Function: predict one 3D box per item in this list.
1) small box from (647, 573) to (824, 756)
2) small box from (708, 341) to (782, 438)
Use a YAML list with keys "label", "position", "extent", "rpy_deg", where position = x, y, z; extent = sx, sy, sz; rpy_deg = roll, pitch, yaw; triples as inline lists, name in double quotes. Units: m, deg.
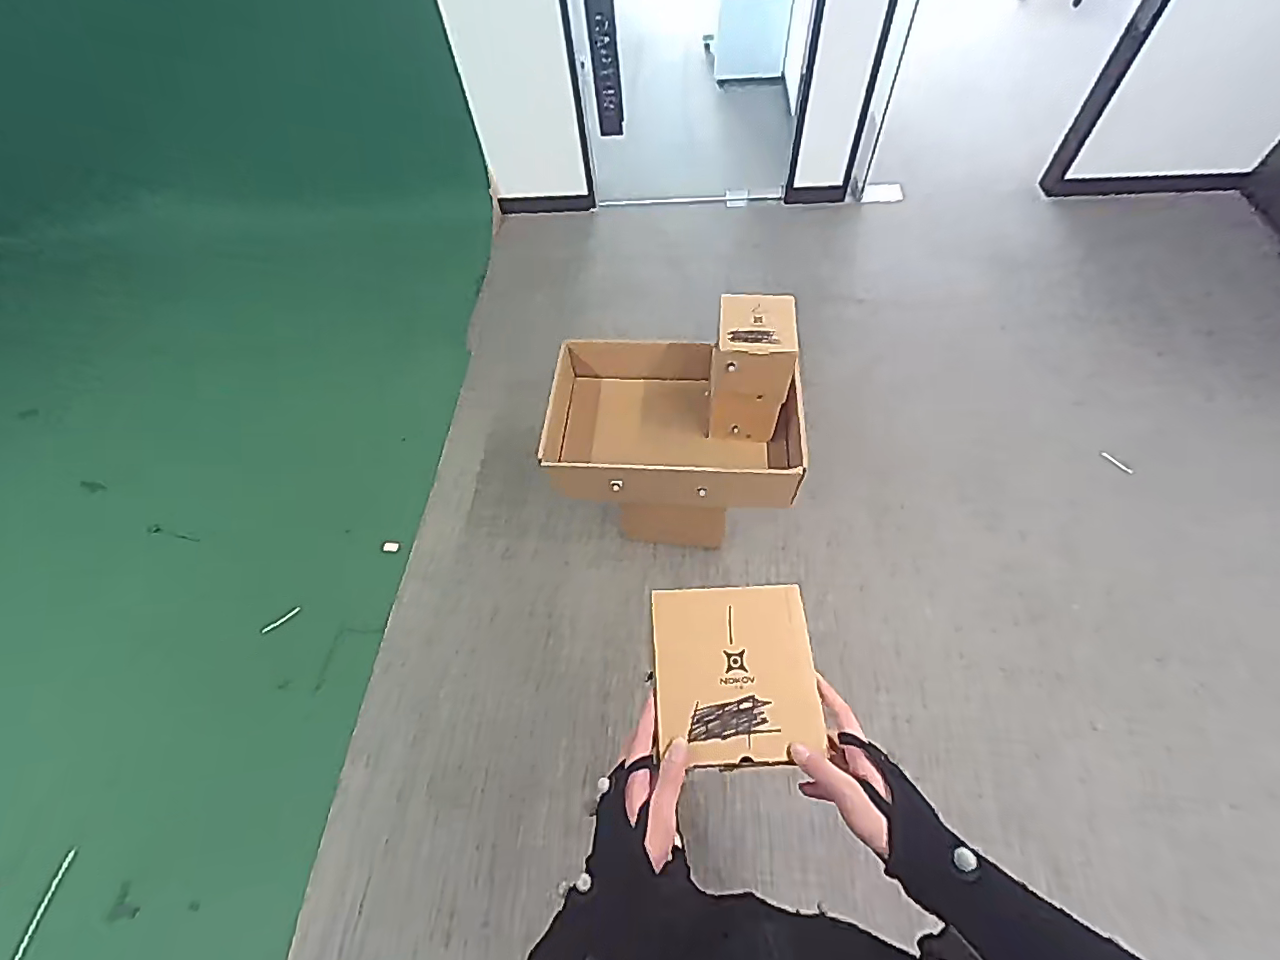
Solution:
- label: "small box"
  position: [0.093, 0.218, 0.623]
  extent: [0.168, 0.176, 0.179]
  rpy_deg: [-2, 61, -2]
- label: "small box"
  position: [0.263, -0.229, 1.379]
  extent: [0.168, 0.176, 0.179]
  rpy_deg: [3, 60, 5]
